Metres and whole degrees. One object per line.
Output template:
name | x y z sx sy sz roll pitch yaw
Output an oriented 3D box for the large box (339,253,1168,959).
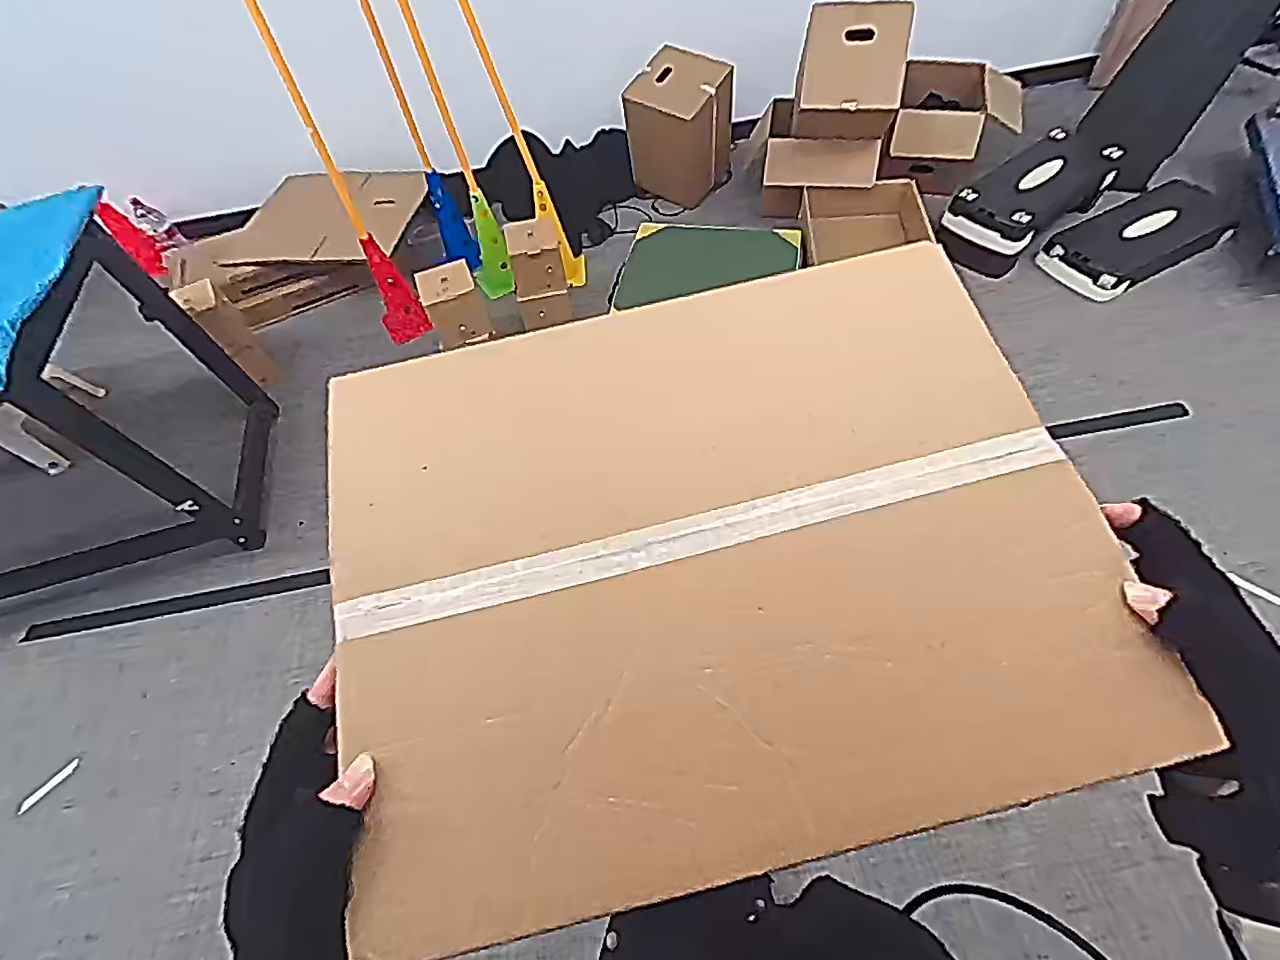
large box | 0.042 0.084 0.446 0.408 0.320 0.320 -14 69 -1
